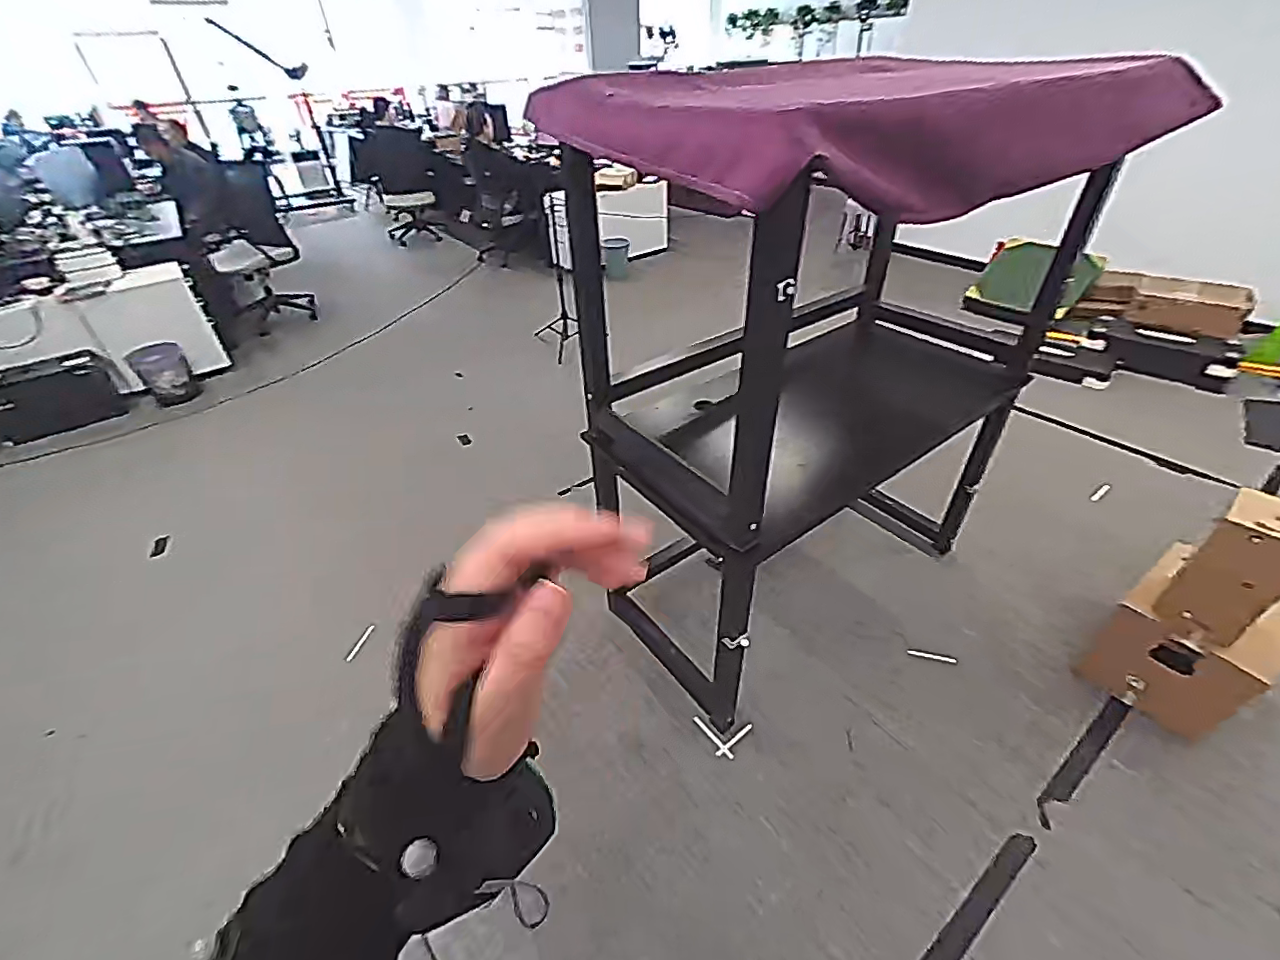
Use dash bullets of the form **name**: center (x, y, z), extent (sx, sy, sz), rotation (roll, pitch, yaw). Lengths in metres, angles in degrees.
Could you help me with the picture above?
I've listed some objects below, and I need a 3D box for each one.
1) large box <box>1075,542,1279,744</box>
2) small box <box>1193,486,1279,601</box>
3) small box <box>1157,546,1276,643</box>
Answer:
- **large box**: center (1.560, 0.453, 1.548), extent (0.408, 0.320, 0.320), rotation (-25, 45, -26)
- **small box**: center (1.475, 0.148, 1.280), extent (0.179, 0.176, 0.168), rotation (-28, 43, -29)
- **small box**: center (1.483, 0.277, 1.381), extent (0.179, 0.176, 0.168), rotation (-26, 43, -26)
